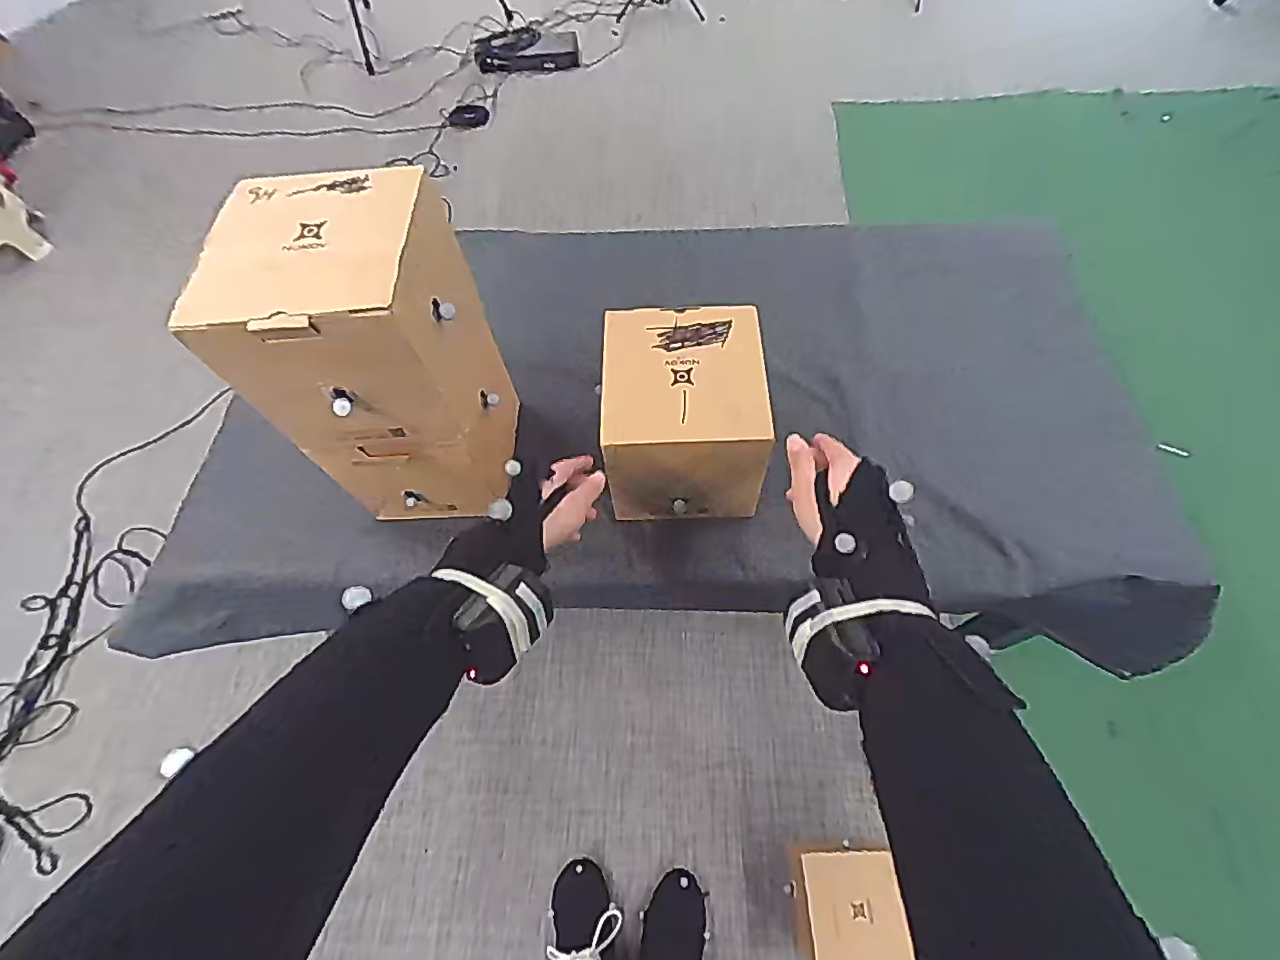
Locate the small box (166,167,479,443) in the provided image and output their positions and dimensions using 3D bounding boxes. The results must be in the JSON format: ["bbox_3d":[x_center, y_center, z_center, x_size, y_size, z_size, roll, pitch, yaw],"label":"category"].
[{"bbox_3d":[-0.255,-0.144,0.490,0.168,0.176,0.179,-4,62,1],"label":"small box"}]

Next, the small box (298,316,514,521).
[{"bbox_3d":[-0.251,-0.067,0.634,0.168,0.176,0.179,-3,61,2],"label":"small box"}]

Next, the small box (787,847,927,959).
[{"bbox_3d":[0.374,0.761,0.963,0.179,0.176,0.168,-4,60,2],"label":"small box"}]

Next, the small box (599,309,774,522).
[{"bbox_3d":[0.047,-0.067,0.610,0.168,0.176,0.179,-2,60,3],"label":"small box"}]
